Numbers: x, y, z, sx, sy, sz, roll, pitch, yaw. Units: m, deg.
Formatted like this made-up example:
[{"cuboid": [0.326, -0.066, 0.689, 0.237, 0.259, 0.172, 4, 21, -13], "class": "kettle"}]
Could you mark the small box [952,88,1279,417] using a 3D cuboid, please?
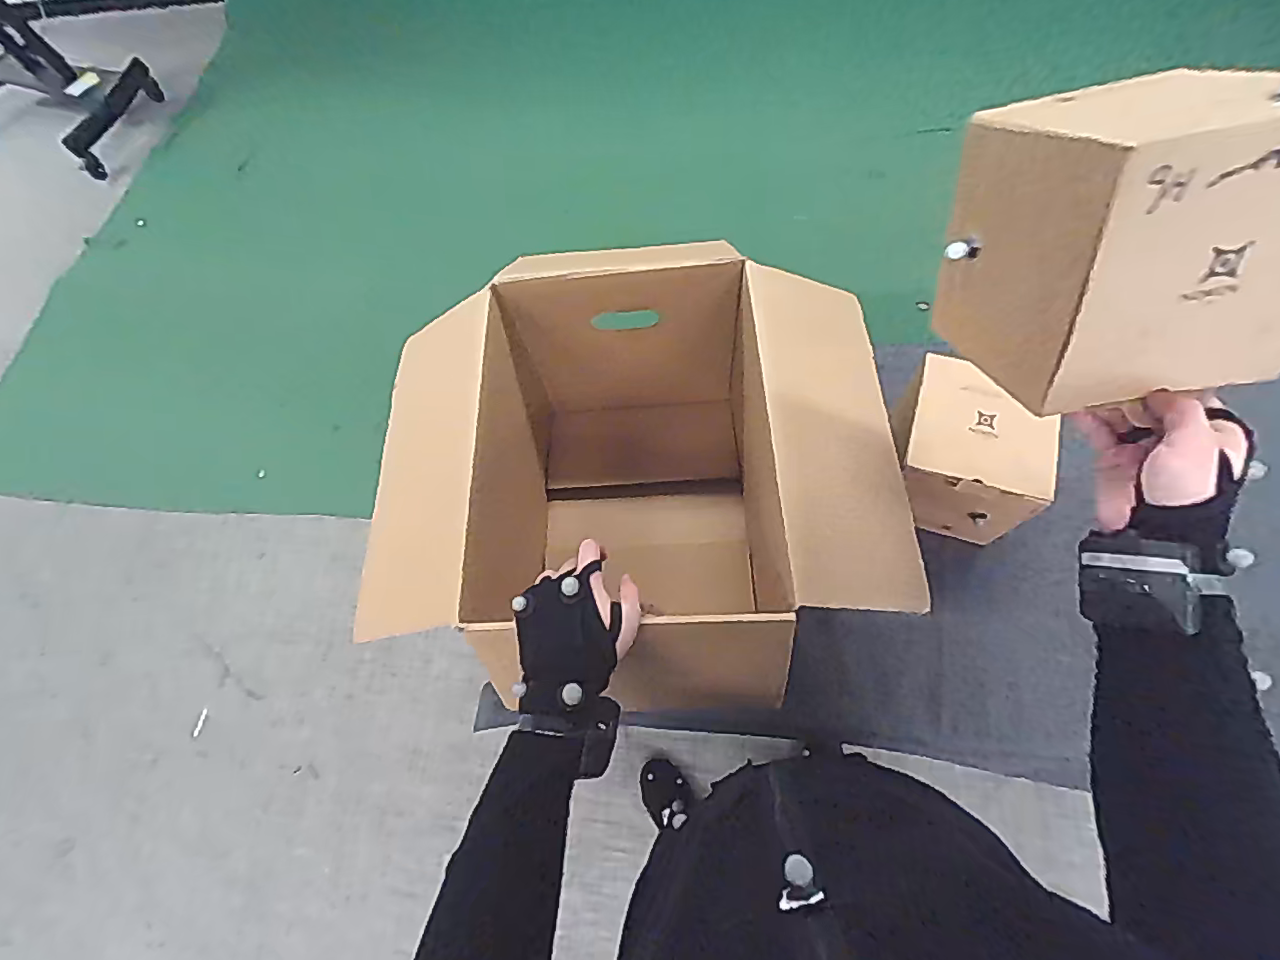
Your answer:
[{"cuboid": [0.366, -0.173, 0.407, 0.168, 0.179, 0.176, -8, 38, 4], "class": "small box"}]

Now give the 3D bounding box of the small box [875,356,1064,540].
[{"cuboid": [0.441, -0.036, 0.745, 0.168, 0.176, 0.179, 16, 68, 12], "class": "small box"}]
